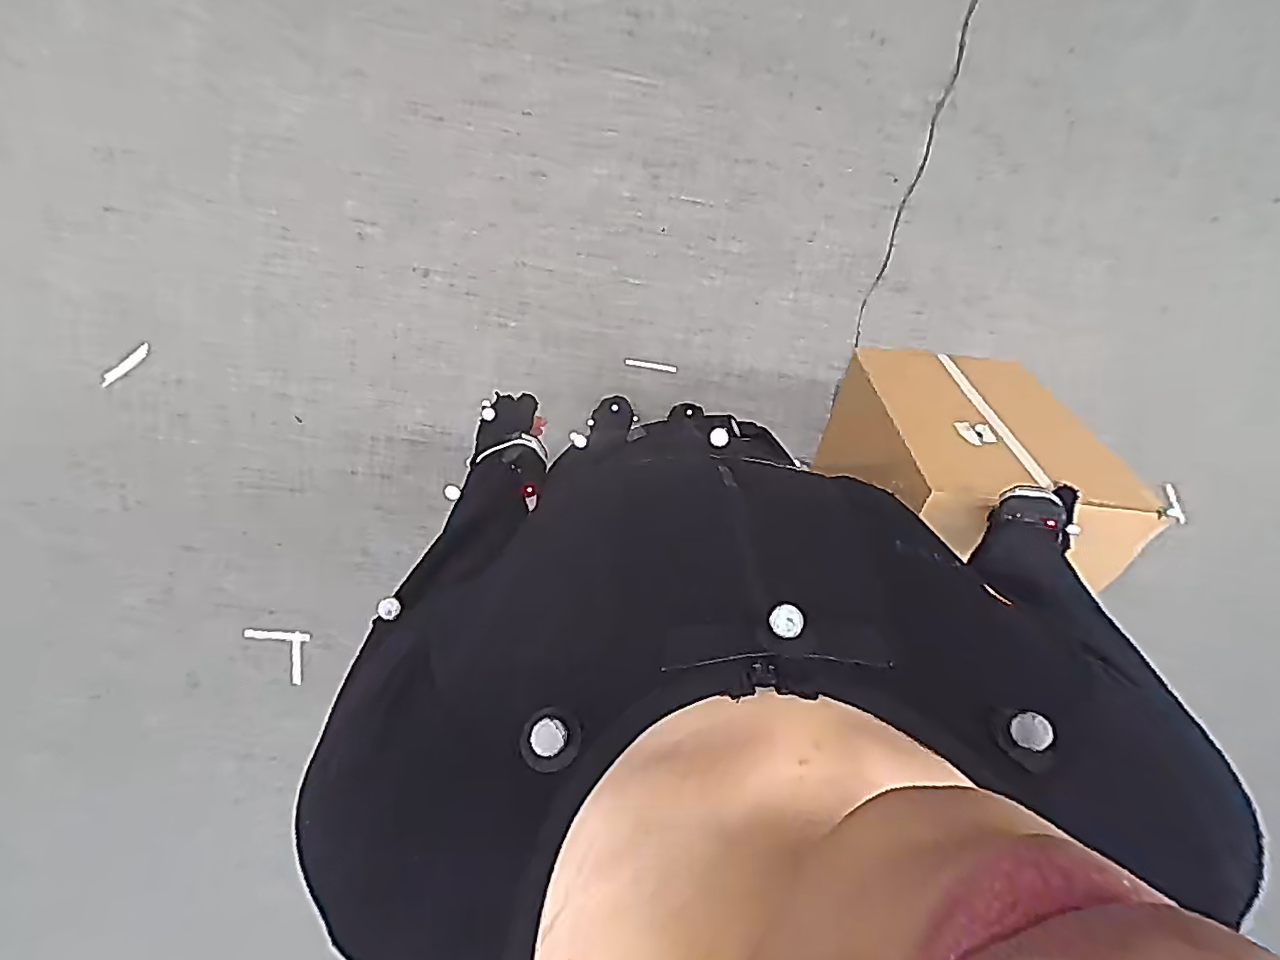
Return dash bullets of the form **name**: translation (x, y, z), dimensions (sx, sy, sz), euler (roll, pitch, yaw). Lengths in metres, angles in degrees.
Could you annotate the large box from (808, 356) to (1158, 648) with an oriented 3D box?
- **large box**: translation (0.523, 0.027, 0.949), dimensions (0.320, 0.408, 0.320), euler (5, 130, -1)
